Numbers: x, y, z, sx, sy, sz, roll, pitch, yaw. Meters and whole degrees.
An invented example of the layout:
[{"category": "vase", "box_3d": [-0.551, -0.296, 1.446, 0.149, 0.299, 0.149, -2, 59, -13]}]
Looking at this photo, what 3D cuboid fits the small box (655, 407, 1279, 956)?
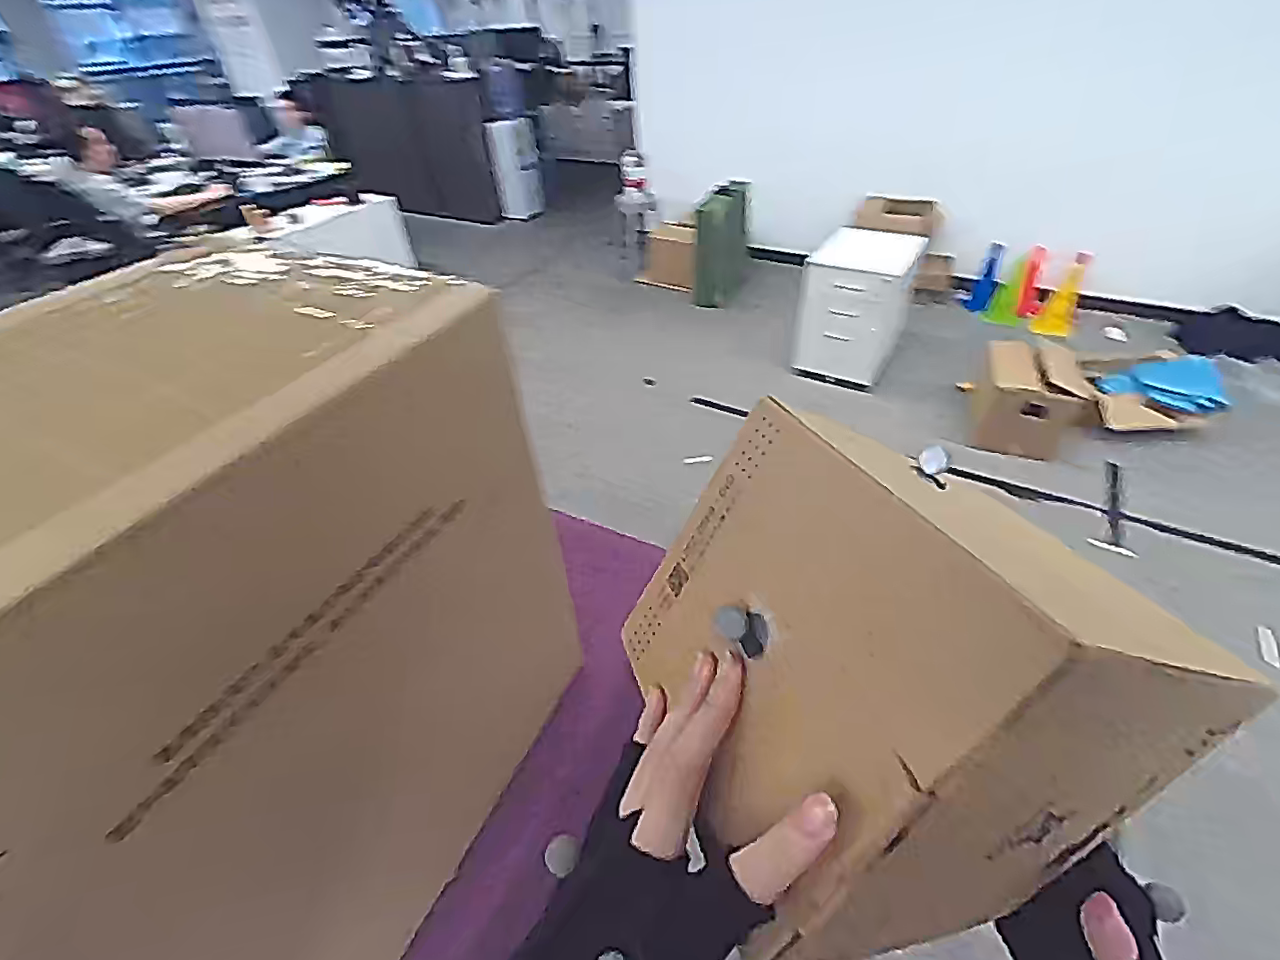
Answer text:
[{"category": "small box", "box_3d": [0.130, 0.082, 0.265, 0.179, 0.168, 0.176, 17, 23, -26]}]
